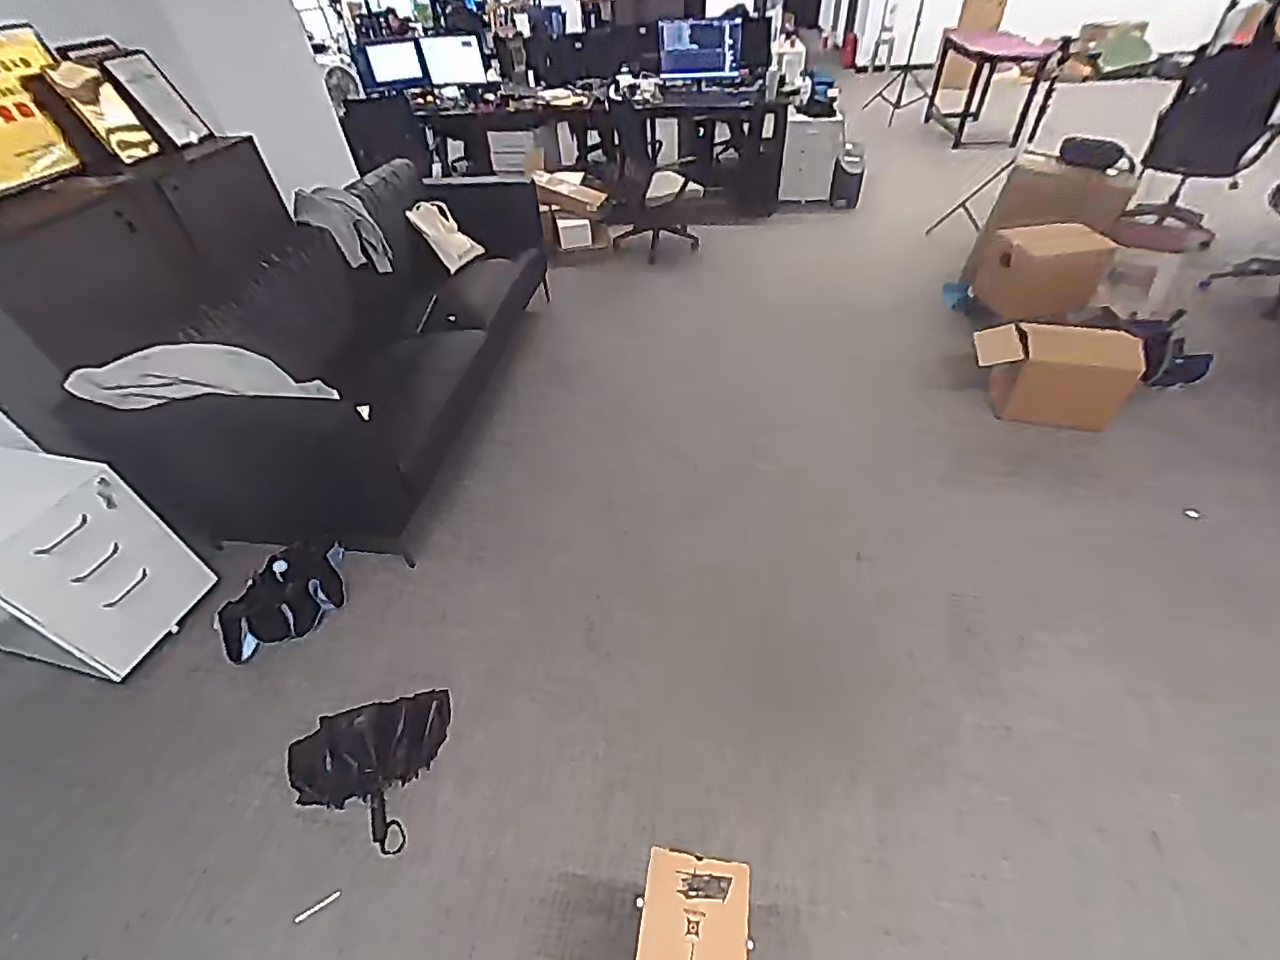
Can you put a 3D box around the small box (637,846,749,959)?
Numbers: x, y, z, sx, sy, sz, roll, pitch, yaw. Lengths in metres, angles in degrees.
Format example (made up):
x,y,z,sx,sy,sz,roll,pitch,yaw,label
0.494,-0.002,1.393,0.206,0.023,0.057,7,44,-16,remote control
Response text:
x,y,z,sx,sy,sz,roll,pitch,yaw,label
0.089,0.744,0.902,0.168,0.176,0.179,5,46,8,small box
